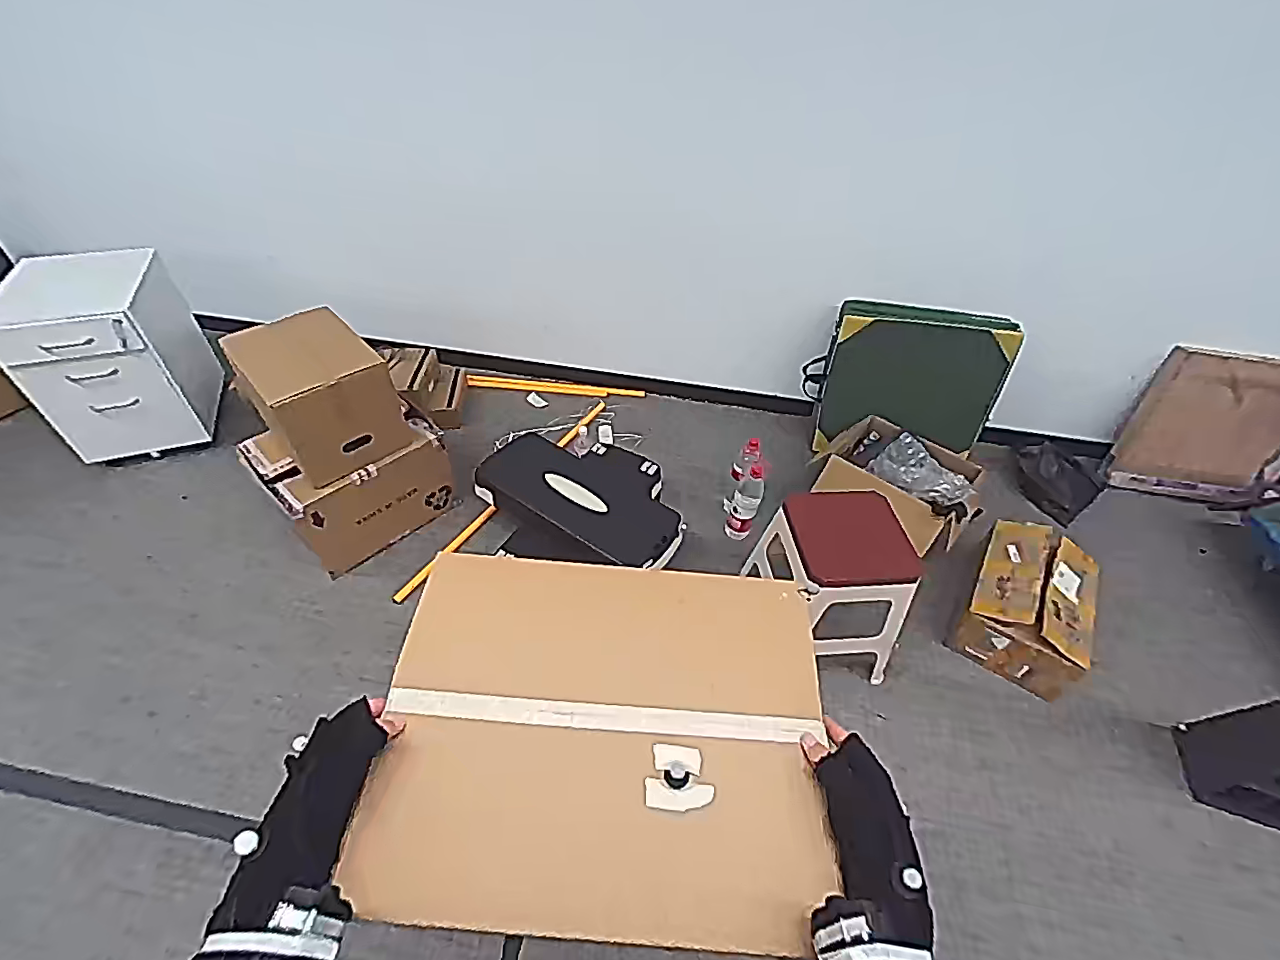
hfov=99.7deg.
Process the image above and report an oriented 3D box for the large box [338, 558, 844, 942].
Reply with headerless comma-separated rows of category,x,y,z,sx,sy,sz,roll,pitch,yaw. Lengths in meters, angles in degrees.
large box,-0.038,0.313,0.624,0.408,0.320,0.320,5,52,0
